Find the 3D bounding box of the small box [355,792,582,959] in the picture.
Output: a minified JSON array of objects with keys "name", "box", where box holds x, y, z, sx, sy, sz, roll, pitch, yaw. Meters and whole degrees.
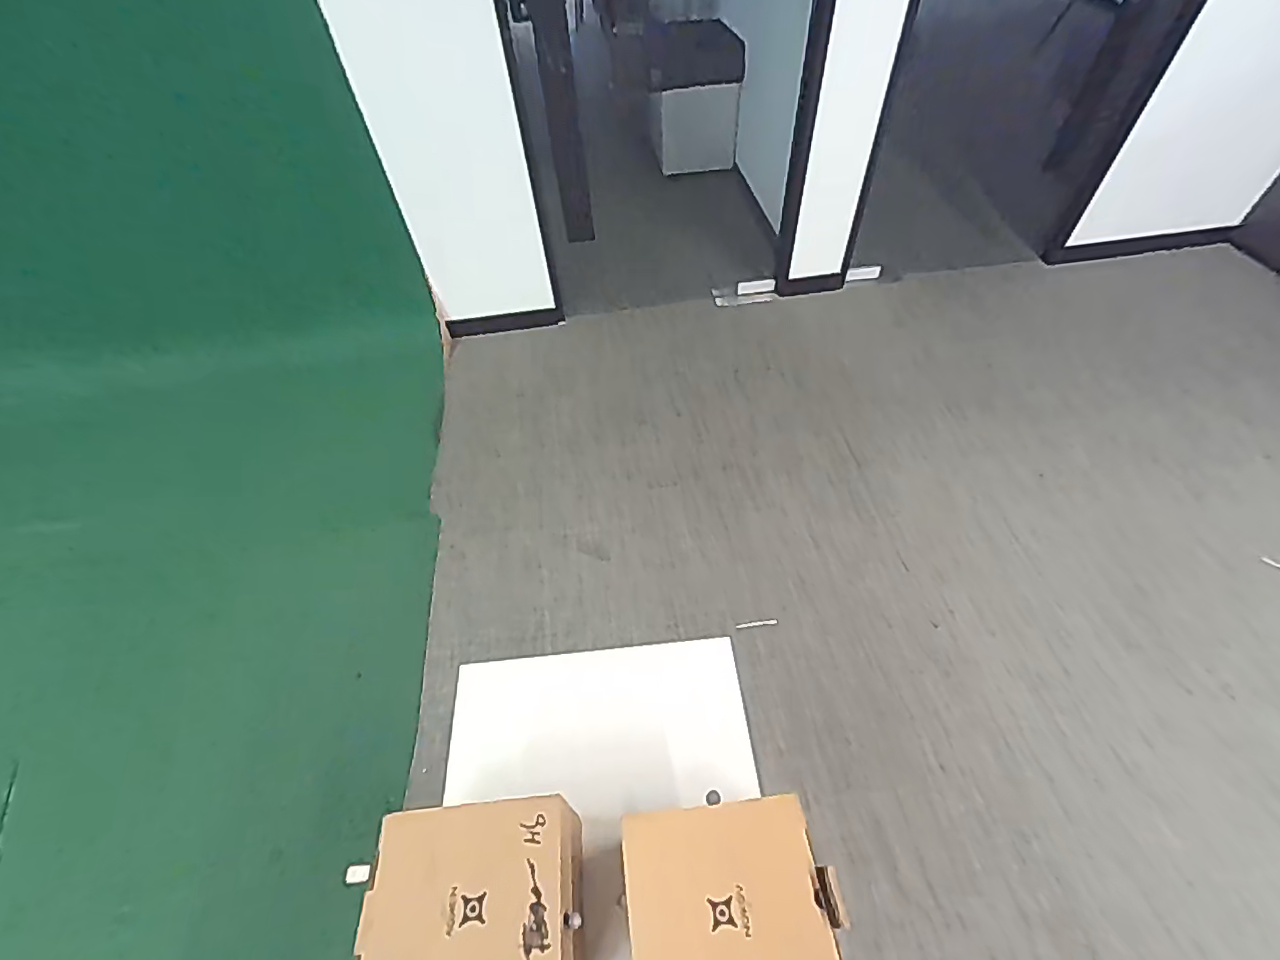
[{"name":"small box","box":[-0.156,0.429,0.544,0.179,0.176,0.168,-6,52,-1]}]
